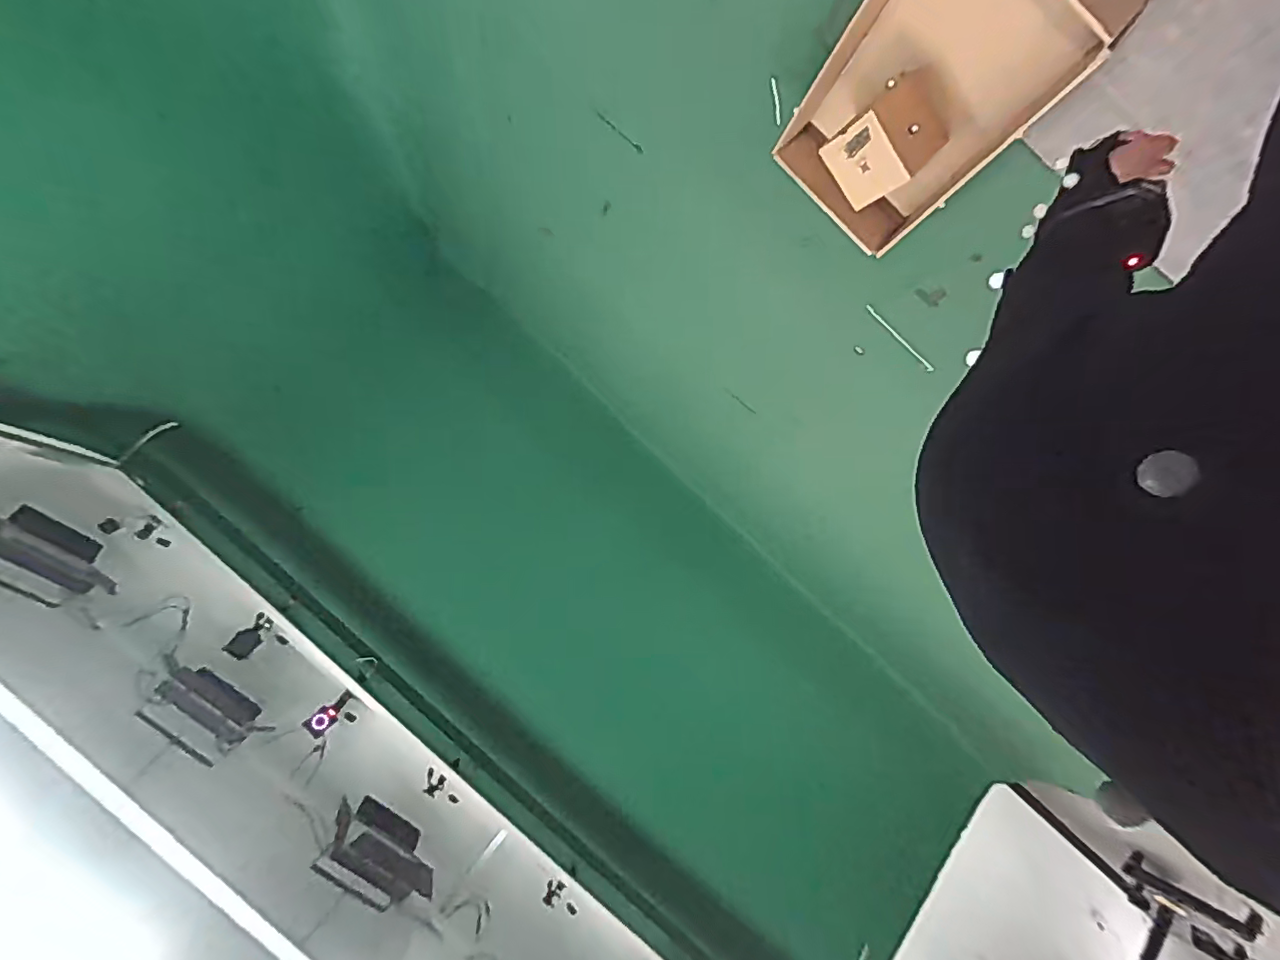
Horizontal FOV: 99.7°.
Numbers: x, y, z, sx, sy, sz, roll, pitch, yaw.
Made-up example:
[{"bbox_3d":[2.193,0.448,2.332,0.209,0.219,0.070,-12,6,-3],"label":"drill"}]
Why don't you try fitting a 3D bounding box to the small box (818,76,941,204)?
[{"bbox_3d":[0.563,-0.802,1.272,0.179,0.176,0.168,48,162,-17],"label":"small box"}]
